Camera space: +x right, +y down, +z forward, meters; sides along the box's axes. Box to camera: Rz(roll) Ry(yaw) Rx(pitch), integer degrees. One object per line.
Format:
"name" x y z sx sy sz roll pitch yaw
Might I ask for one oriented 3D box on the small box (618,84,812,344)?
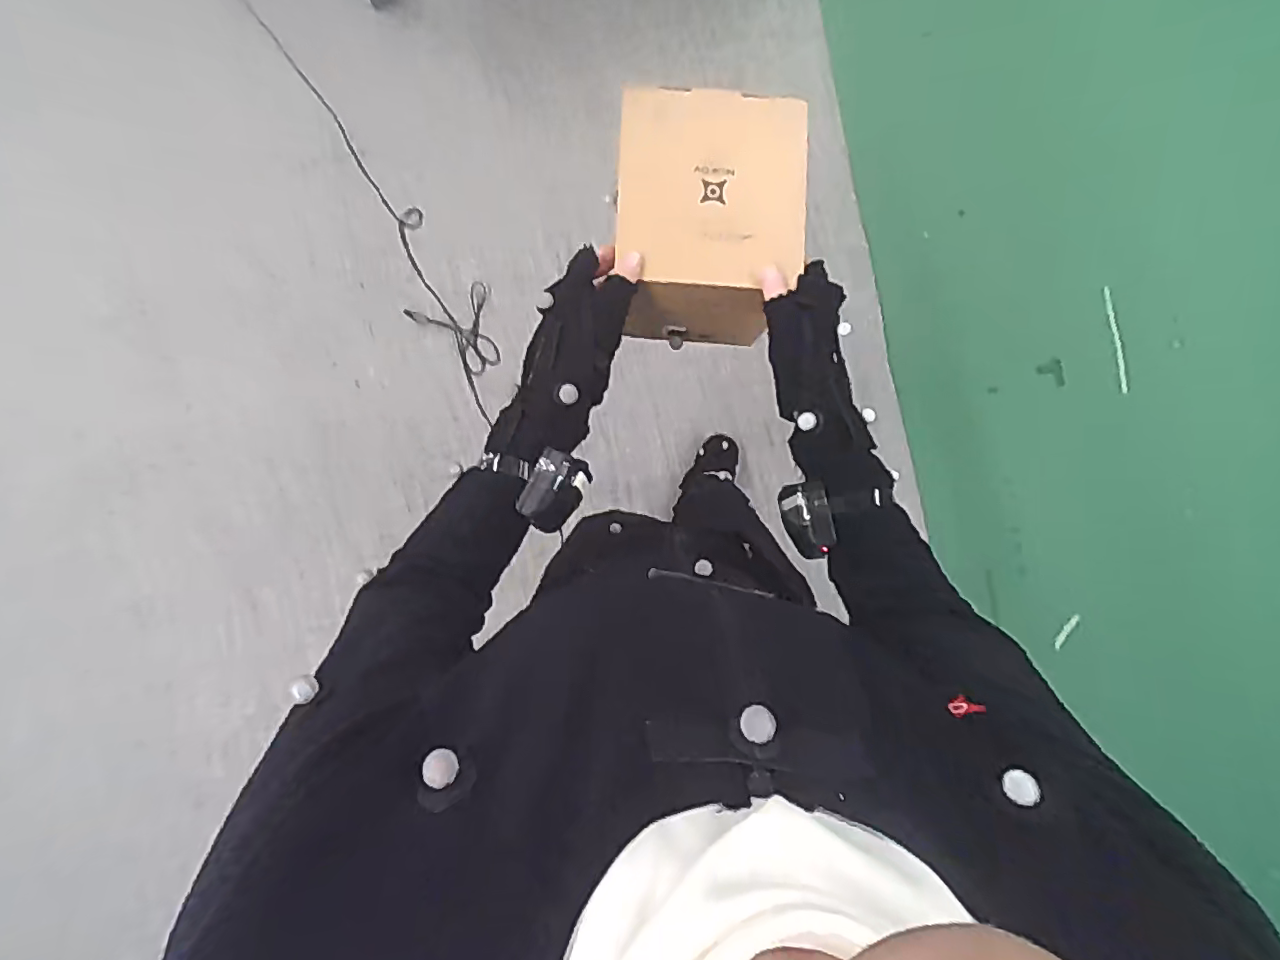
"small box" 0.064 -0.252 0.550 0.168 0.176 0.179 2 89 -2
